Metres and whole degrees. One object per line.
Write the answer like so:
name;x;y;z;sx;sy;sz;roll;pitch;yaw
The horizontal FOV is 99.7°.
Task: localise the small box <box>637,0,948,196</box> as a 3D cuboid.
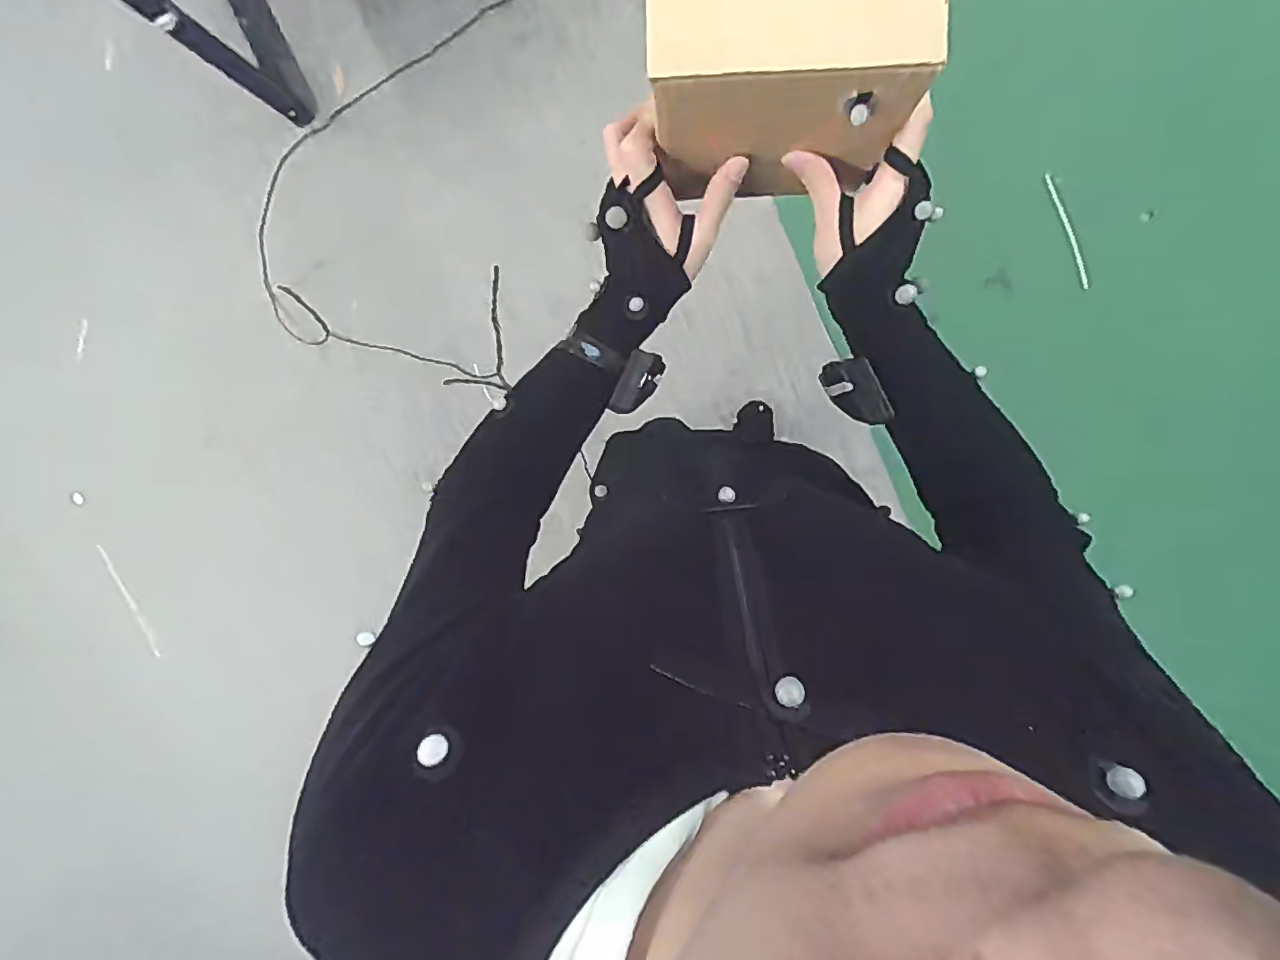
small box;0.092;-0.323;0.385;0.179;0.176;0.168;-1;93;4
